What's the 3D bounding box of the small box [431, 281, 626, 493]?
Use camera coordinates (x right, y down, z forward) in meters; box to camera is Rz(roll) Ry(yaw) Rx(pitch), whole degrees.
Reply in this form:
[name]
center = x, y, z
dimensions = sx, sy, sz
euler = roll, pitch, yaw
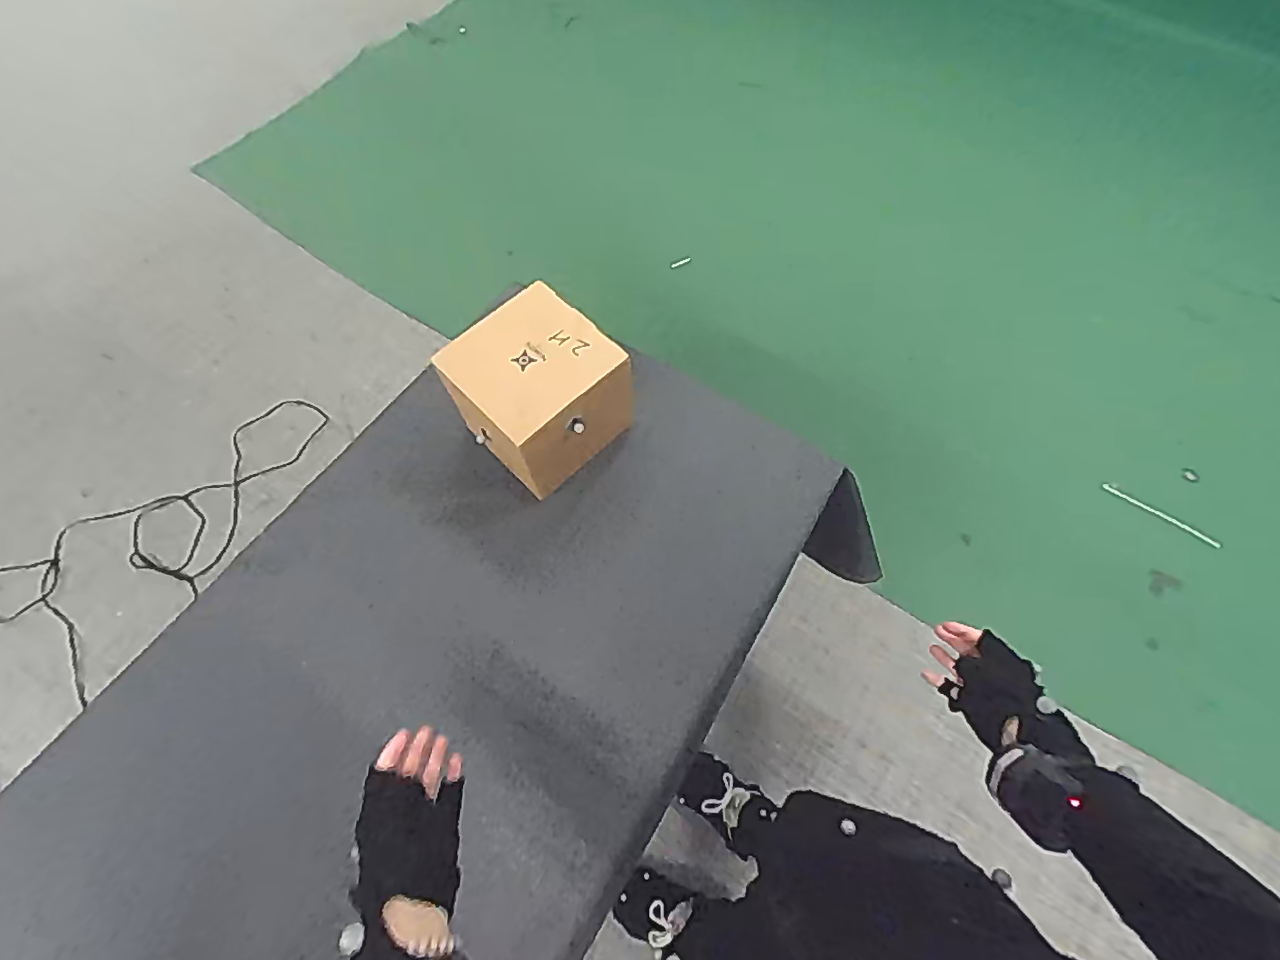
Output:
[small box]
center = -0.130, -0.112, 0.708
dimensions = 0.179, 0.176, 0.168
euler = -42, 74, -17
